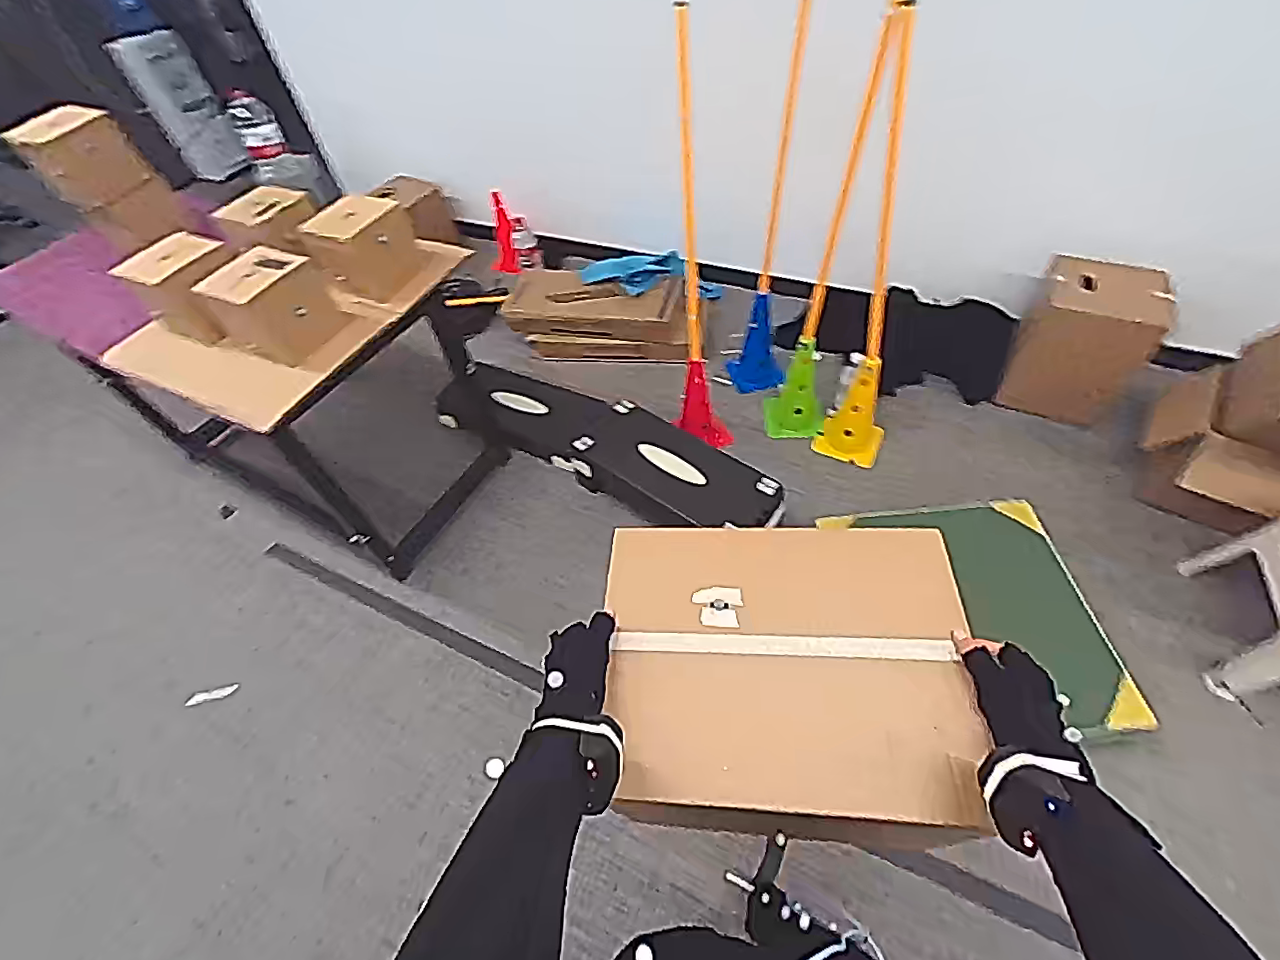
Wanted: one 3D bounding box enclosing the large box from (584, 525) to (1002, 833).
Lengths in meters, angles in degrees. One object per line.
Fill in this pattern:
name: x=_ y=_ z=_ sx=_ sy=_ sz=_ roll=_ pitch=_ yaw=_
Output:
large box: x=0.171 y=0.275 z=0.728 sx=0.408 sy=0.320 sz=0.320 roll=-2 pitch=52 yaw=10
